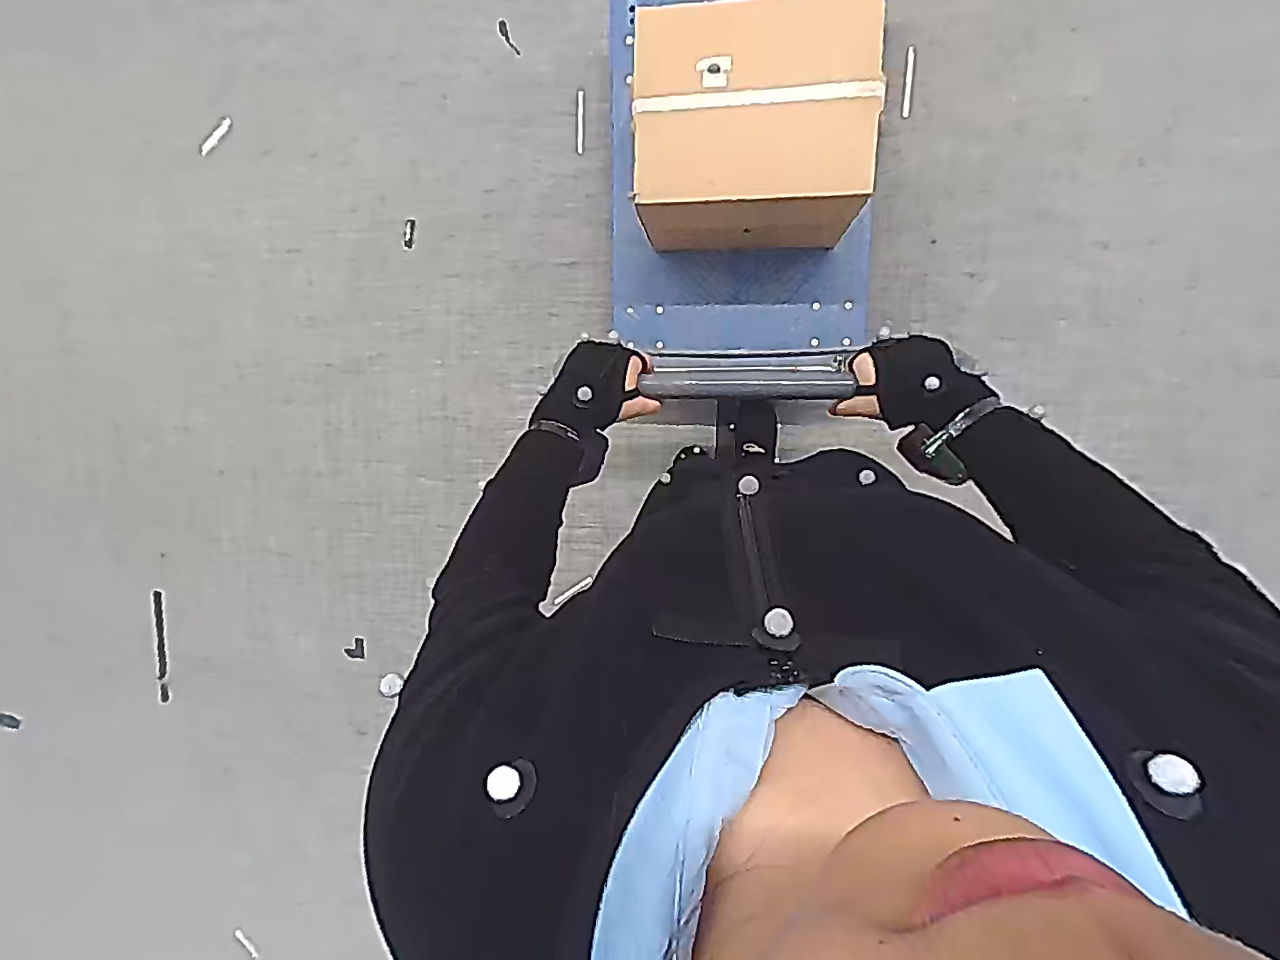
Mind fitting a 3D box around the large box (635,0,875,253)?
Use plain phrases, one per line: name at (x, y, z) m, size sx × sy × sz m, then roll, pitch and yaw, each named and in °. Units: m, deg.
large box at (0.214, -0.656, 1.073) m, size 0.408 × 0.320 × 0.320 m, roll 2°, pitch 97°, yaw 9°
